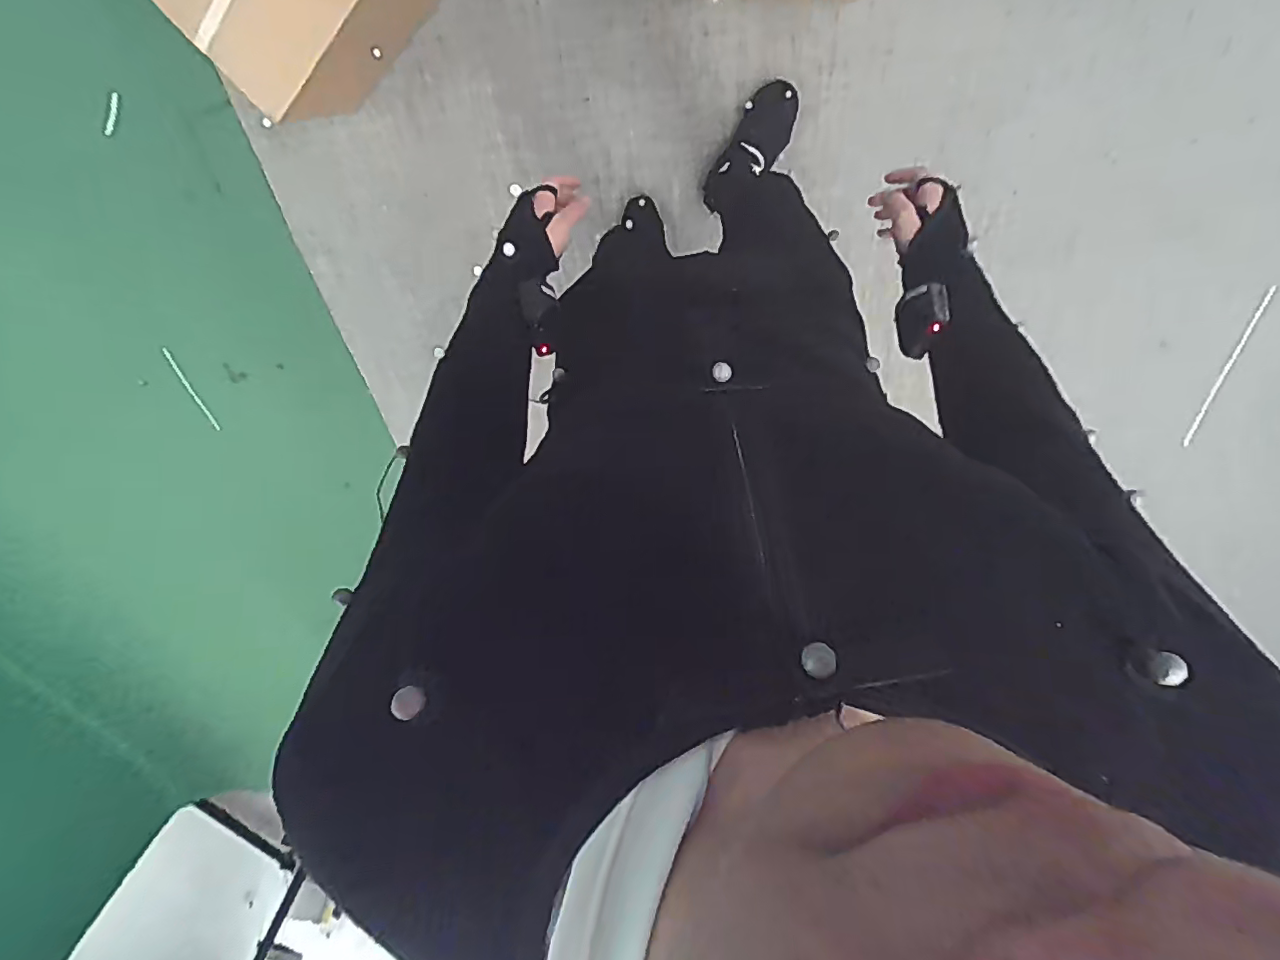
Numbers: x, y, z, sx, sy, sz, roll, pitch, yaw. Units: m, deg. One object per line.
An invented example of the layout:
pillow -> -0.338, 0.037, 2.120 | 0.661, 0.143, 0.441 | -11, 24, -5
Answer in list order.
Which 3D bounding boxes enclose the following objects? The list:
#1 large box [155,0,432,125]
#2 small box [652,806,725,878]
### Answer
large box -> -0.645, -0.983, 1.033 | 0.408, 0.320, 0.320 | -29, 118, 27
small box -> 0.163, 1.213, 1.798 | 0.179, 0.176, 0.168 | 31, 126, -16
